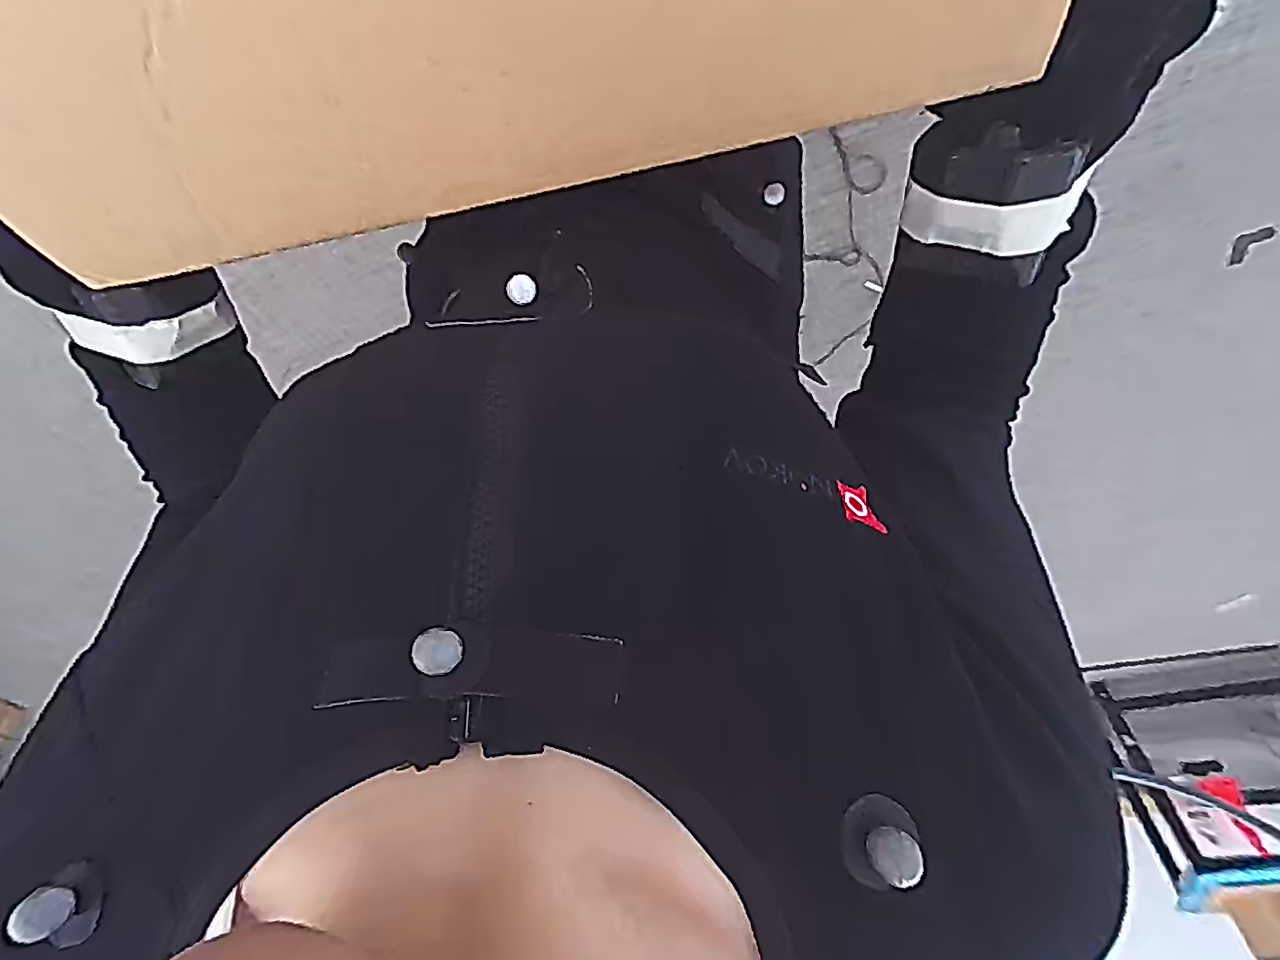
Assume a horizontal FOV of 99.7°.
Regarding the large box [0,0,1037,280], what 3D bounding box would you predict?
[{"bbox_3d":[-0.091,-0.330,0.190,0.408,0.320,0.320,-7,144,10],"label":"large box"}]
